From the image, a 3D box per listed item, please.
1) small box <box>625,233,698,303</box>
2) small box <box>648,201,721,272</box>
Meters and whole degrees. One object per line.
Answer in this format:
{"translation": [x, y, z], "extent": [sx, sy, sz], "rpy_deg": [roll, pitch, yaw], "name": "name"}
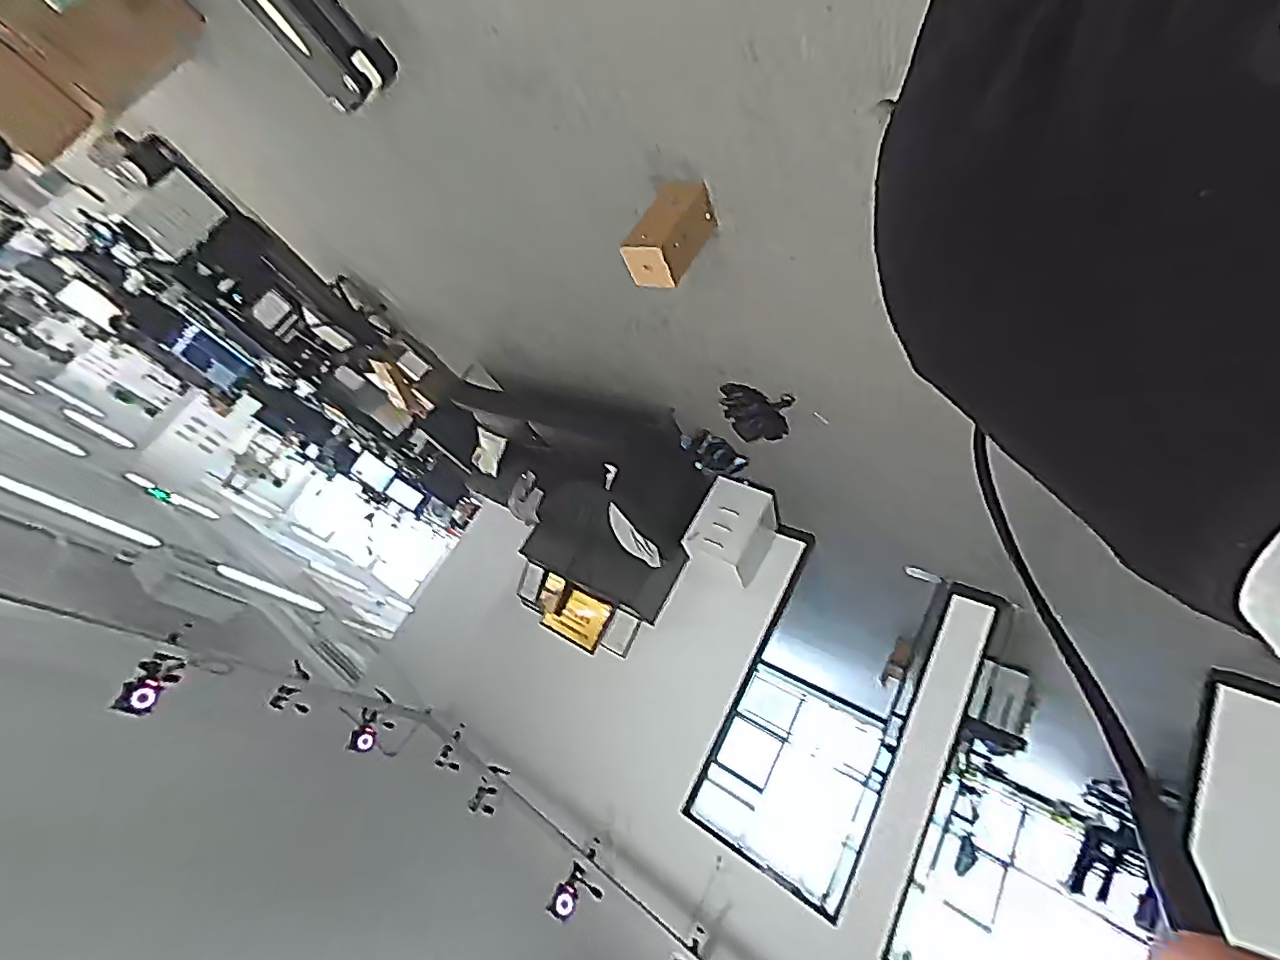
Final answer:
{"translation": [0.084, -0.743, 1.887], "extent": [0.179, 0.176, 0.168], "rpy_deg": [19, 157, 36], "name": "small box"}
{"translation": [0.164, -0.874, 1.939], "extent": [0.179, 0.176, 0.168], "rpy_deg": [18, 157, 35], "name": "small box"}
